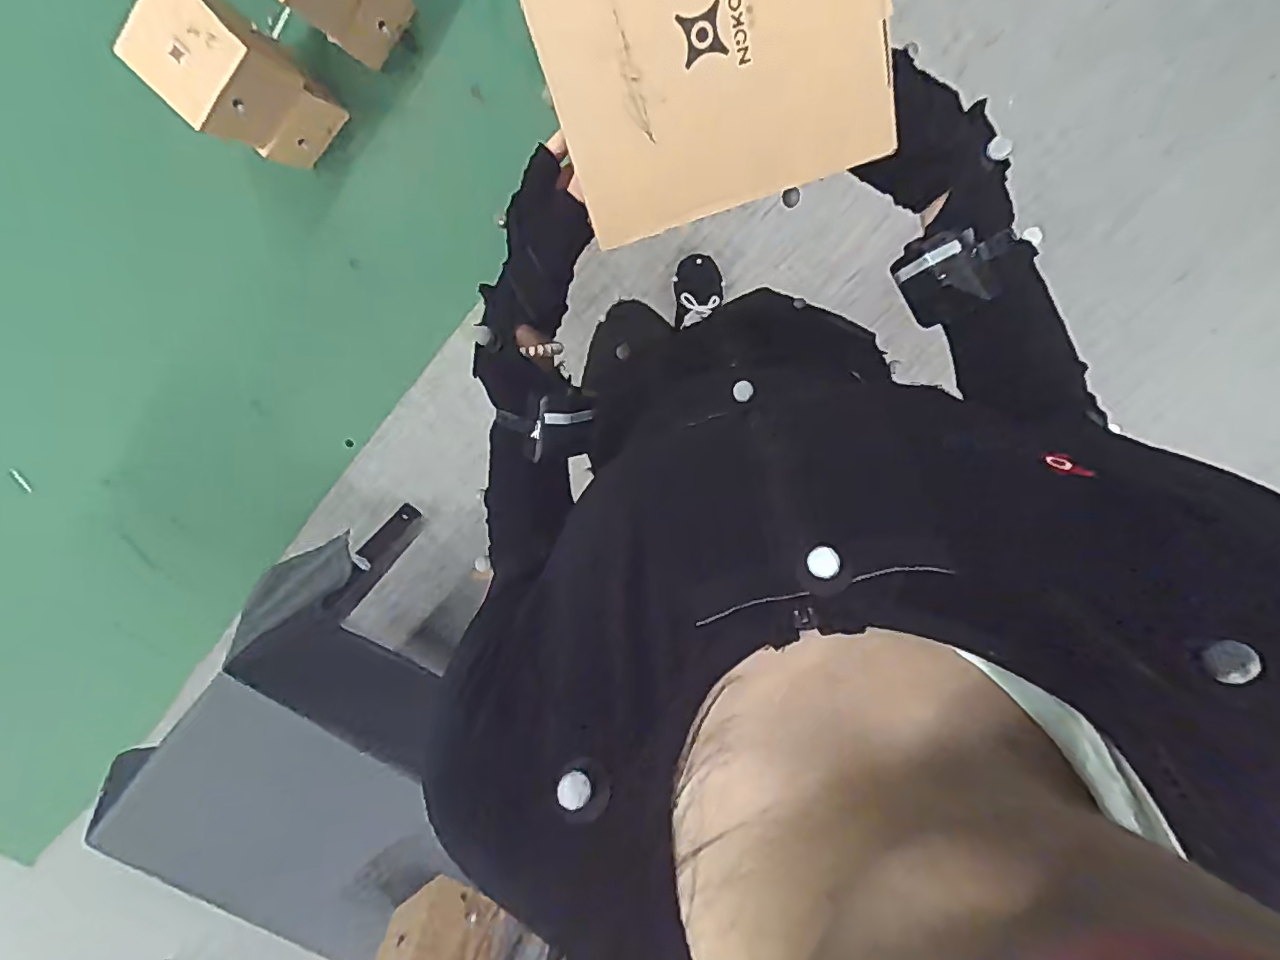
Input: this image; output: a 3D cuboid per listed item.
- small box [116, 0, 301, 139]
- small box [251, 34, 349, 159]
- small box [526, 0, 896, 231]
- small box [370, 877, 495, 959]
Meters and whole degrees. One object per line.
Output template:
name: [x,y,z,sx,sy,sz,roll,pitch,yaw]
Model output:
small box: [-0.772,-0.766,0.988,0.179,0.176,0.168,-40,105,16]
small box: [-0.767,-0.814,1.146,0.168,0.176,0.179,-39,105,15]
small box: [0.033,-0.273,0.339,0.179,0.176,0.168,-15,116,8]
small box: [-0.406,0.921,1.040,0.168,0.176,0.179,42,106,-14]
